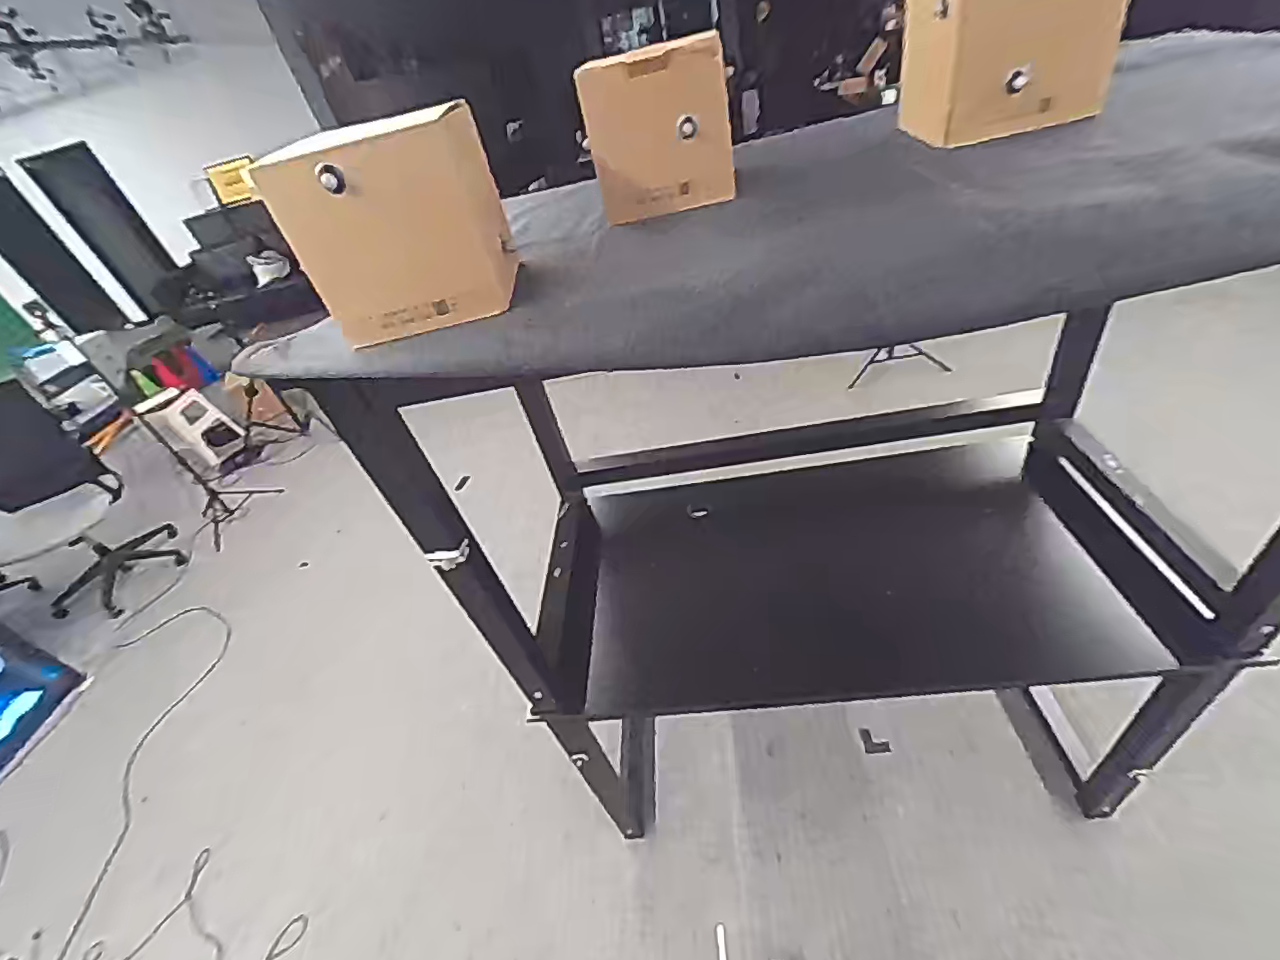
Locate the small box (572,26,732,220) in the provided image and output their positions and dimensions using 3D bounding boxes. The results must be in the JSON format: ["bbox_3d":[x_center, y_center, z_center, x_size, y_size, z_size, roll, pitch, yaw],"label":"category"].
[{"bbox_3d":[0.025,-0.449,0.693,0.168,0.176,0.179,-6,41,10],"label":"small box"}]

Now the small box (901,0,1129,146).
[{"bbox_3d":[0.423,-0.514,0.636,0.168,0.176,0.179,-9,40,9],"label":"small box"}]

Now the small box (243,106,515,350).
[{"bbox_3d":[-0.234,-0.254,0.546,0.168,0.176,0.179,-13,39,3],"label":"small box"}]
